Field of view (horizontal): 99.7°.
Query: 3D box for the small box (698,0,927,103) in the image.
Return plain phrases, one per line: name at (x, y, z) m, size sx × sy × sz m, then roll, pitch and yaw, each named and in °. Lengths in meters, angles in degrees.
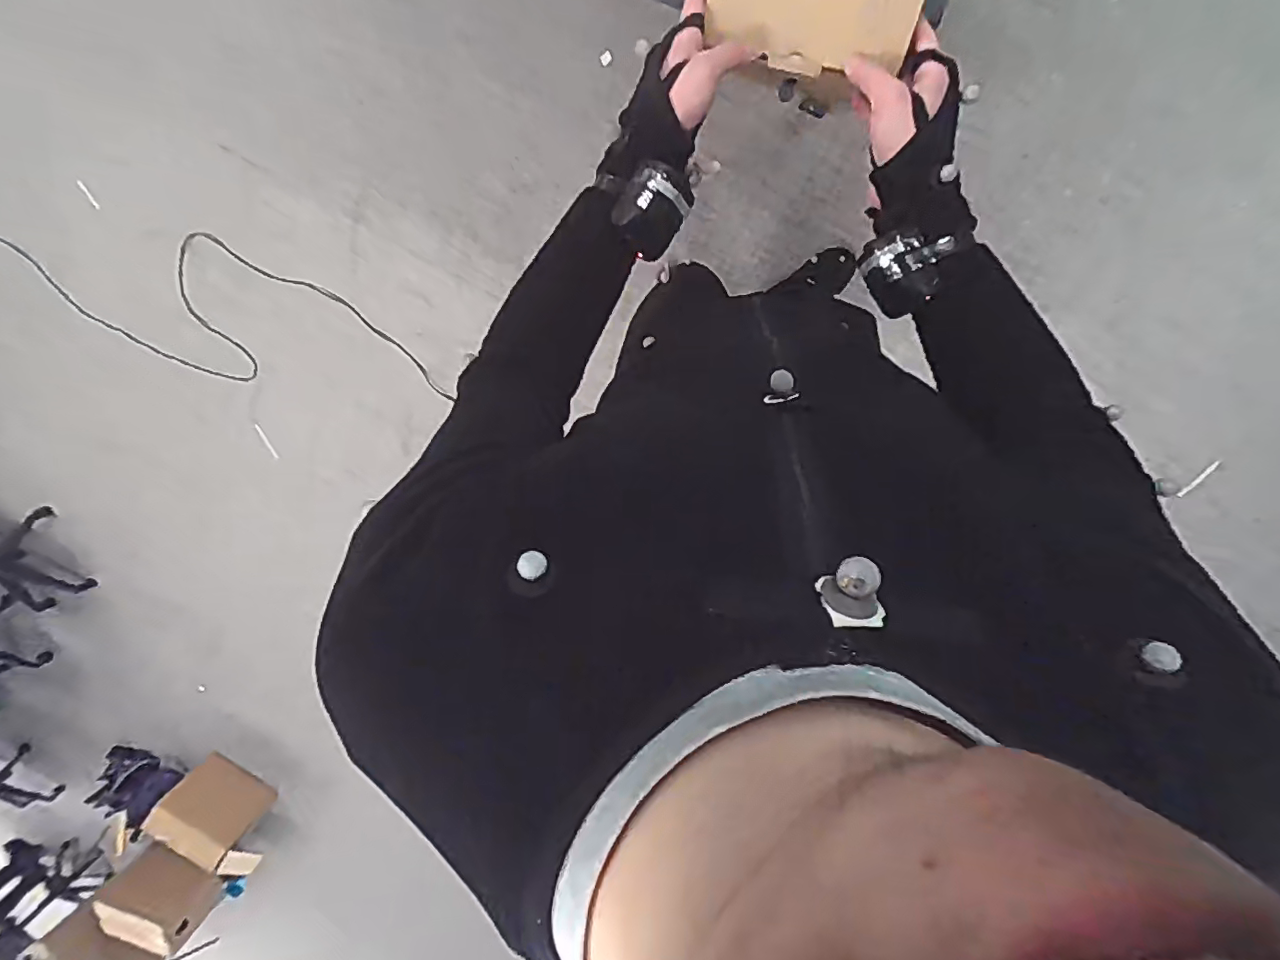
small box at (0.157, -0.439, 0.454) m, size 0.168 × 0.176 × 0.179 m, roll 15°, pitch 121°, yaw 5°
